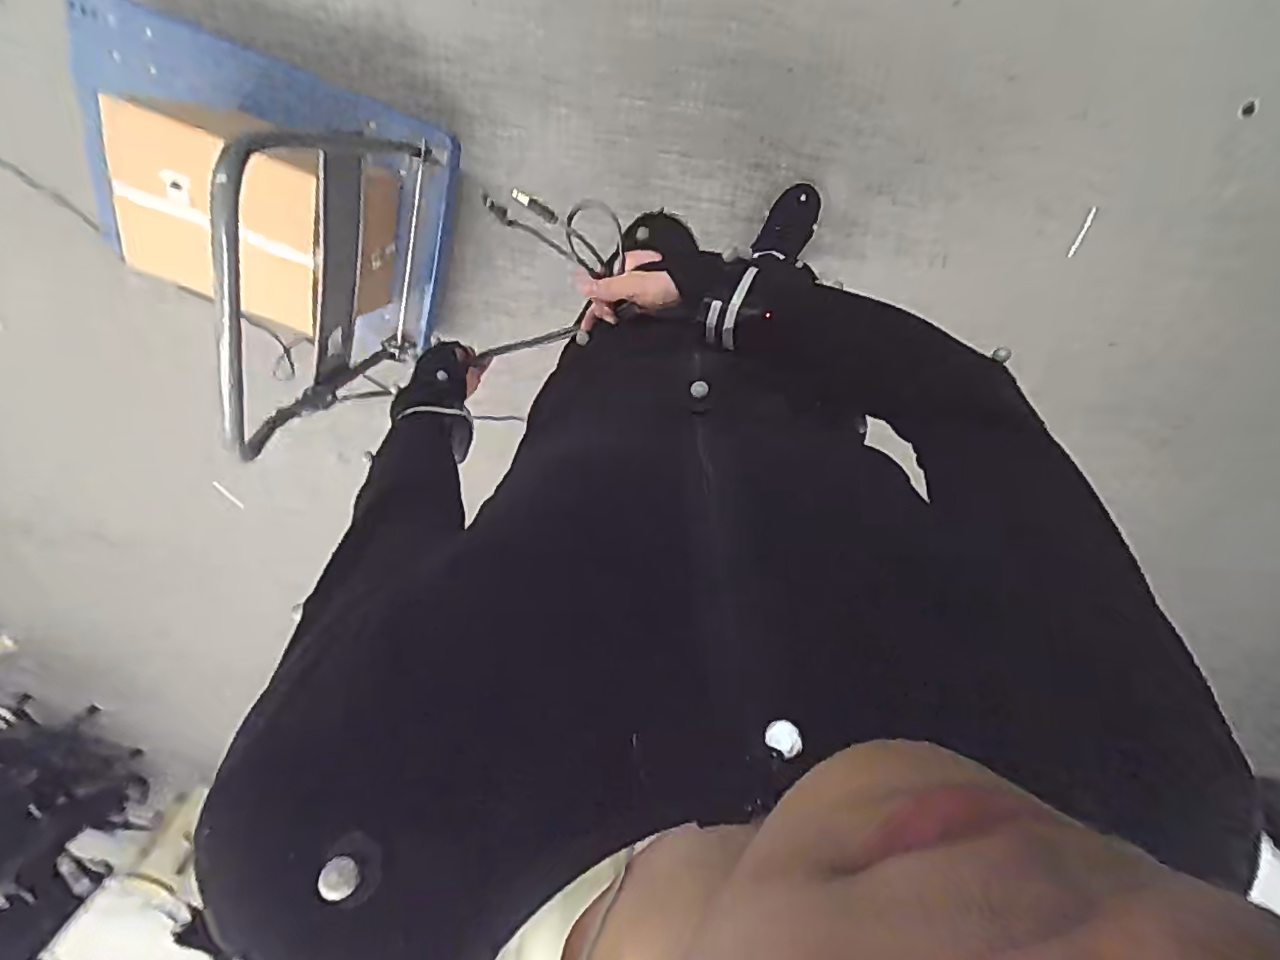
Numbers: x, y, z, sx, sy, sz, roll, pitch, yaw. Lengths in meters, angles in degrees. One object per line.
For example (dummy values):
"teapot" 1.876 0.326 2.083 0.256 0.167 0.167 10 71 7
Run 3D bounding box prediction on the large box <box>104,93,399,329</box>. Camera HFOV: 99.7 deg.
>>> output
"large box" -0.797 -0.578 1.176 0.408 0.320 0.320 21 120 -3
